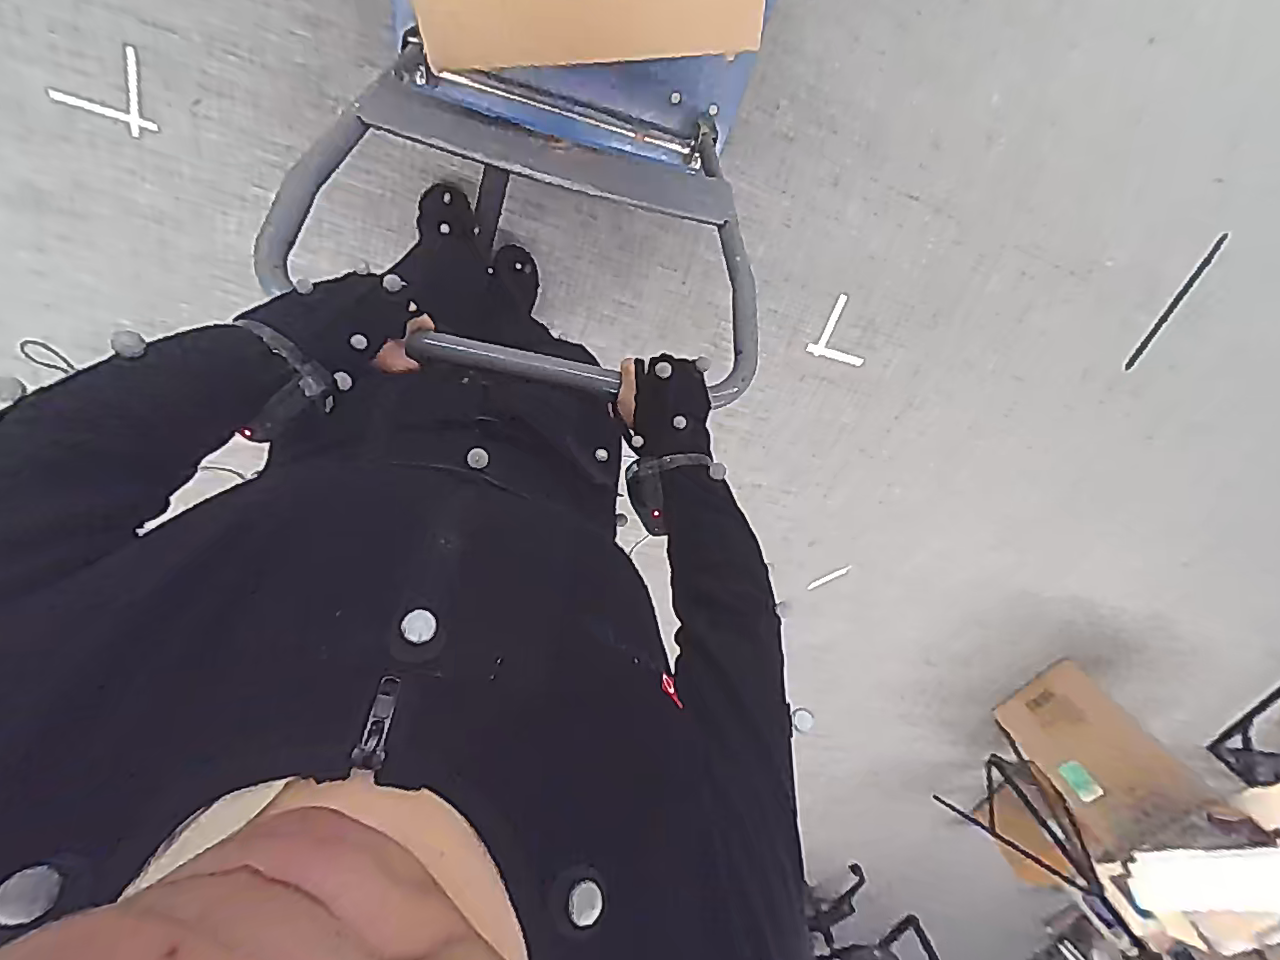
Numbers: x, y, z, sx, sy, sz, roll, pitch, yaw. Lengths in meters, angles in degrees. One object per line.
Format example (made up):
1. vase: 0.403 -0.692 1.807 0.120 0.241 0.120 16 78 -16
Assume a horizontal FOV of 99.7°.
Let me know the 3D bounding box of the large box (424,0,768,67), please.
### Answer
1. large box: -0.065 -0.732 0.645 0.408 0.320 0.320 -4 138 0
